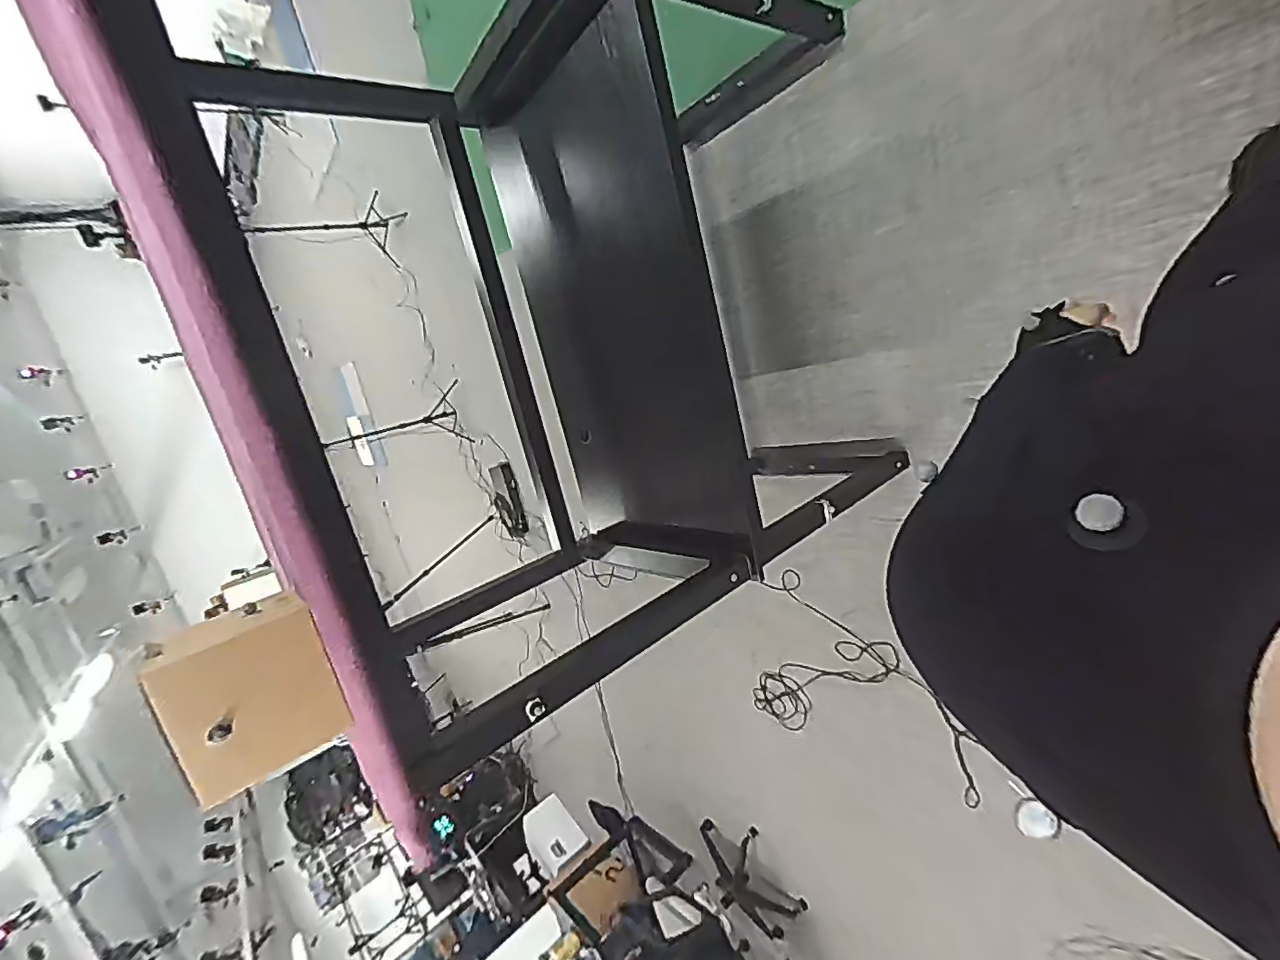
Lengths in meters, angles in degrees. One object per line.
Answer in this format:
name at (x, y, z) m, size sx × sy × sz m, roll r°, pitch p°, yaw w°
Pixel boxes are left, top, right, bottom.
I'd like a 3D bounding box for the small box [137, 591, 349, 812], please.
small box at (-0.501, 0.267, 0.699) m, size 0.168 × 0.176 × 0.179 m, roll -1°, pitch 107°, yaw 50°
